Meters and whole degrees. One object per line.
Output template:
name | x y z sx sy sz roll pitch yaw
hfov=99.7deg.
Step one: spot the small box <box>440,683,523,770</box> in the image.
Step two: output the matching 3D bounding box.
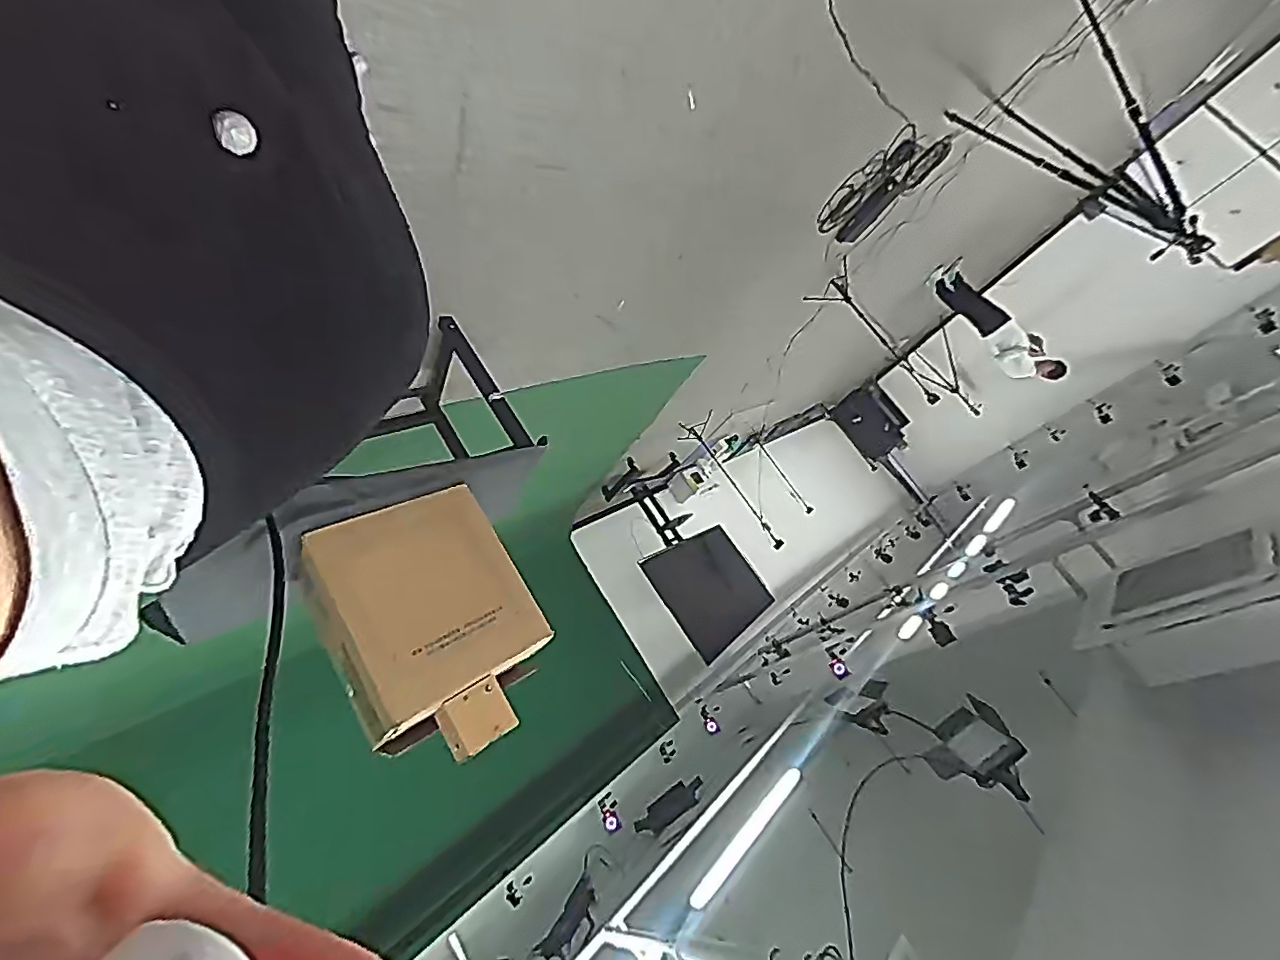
small box | -0.485 0.741 1.636 0.168 0.176 0.179 -22 162 -39
